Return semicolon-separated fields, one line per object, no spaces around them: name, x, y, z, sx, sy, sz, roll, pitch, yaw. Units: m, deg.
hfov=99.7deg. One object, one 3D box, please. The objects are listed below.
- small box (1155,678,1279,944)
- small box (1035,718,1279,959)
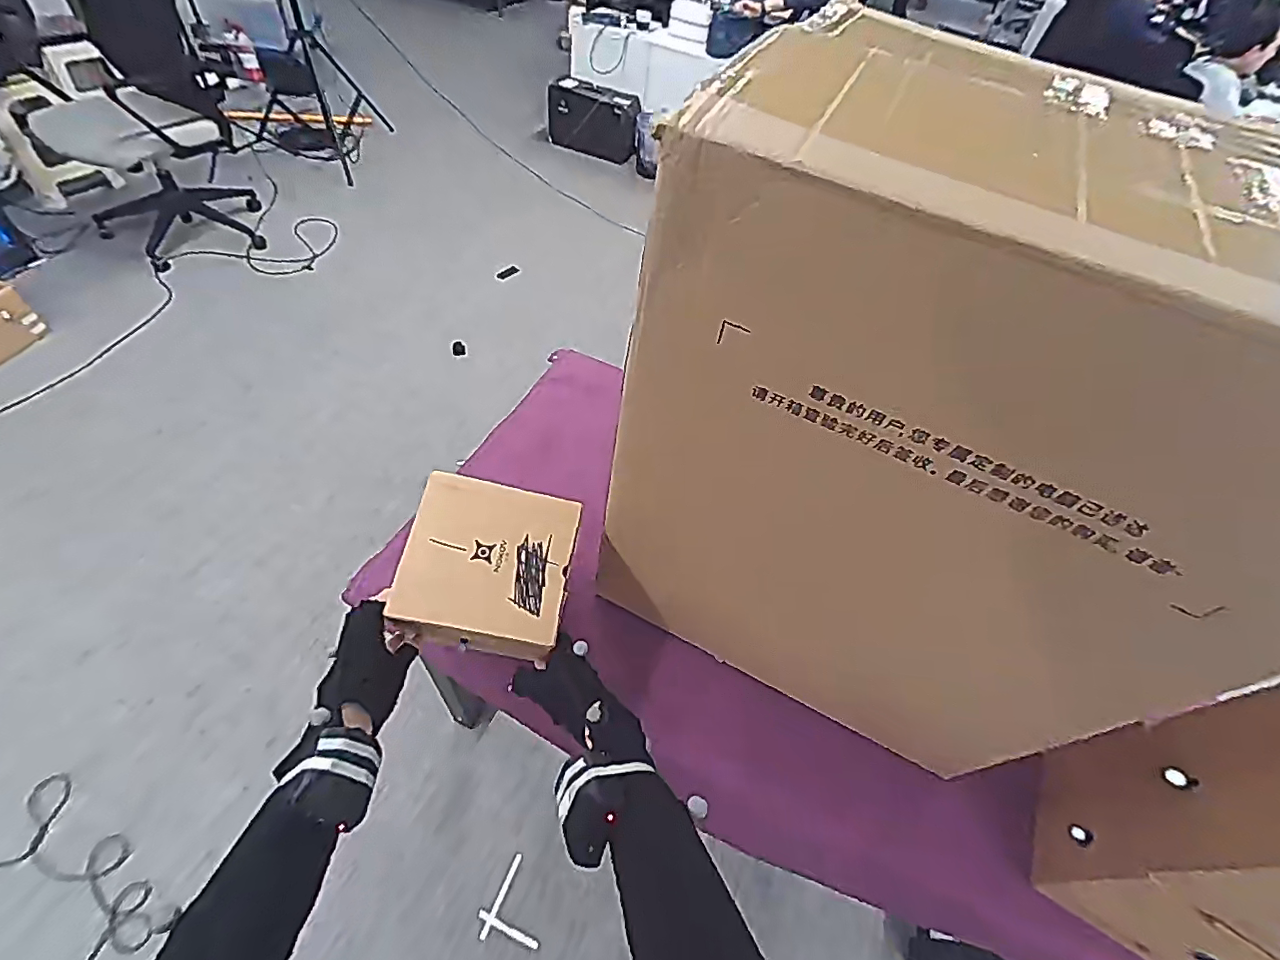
small box;0.613;0.311;0.479;0.168;0.176;0.179;33;54;16
small box;0.584;0.411;0.606;0.168;0.176;0.179;29;51;14
